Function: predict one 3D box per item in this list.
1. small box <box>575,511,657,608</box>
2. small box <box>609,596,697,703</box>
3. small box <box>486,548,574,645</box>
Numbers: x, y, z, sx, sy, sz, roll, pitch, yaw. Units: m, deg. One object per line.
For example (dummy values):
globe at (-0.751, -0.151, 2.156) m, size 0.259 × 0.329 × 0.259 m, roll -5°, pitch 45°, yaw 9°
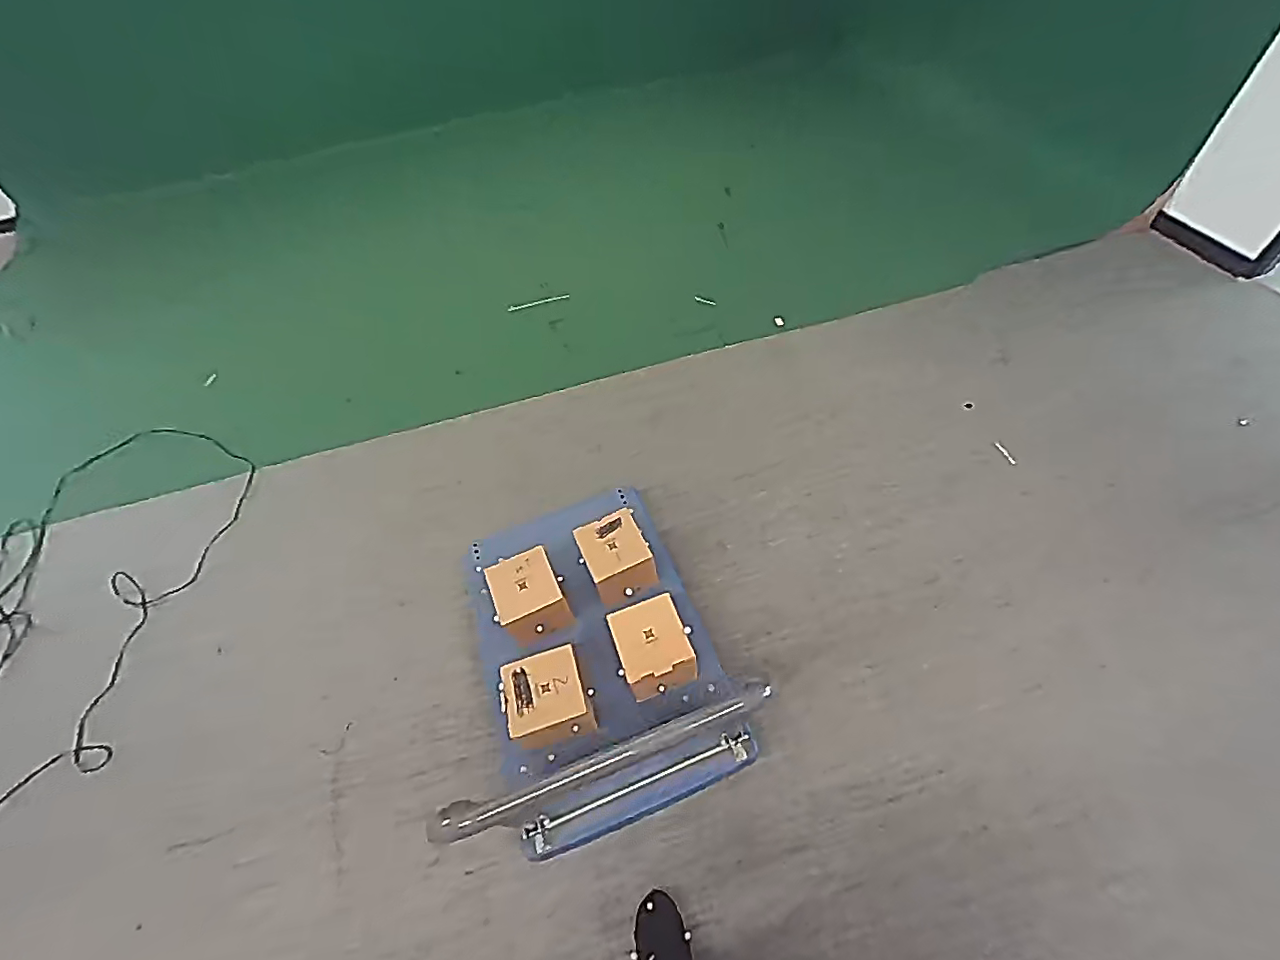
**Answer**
small box at (-0.062, 0.222, 1.492) m, size 0.168 × 0.176 × 0.179 m, roll -23°, pitch 56°, yaw -9°
small box at (0.033, 0.421, 1.336) m, size 0.168 × 0.176 × 0.179 m, roll -19°, pitch 55°, yaw -7°
small box at (-0.290, 0.320, 1.448) m, size 0.168 × 0.176 × 0.179 m, roll -22°, pitch 54°, yaw -10°
